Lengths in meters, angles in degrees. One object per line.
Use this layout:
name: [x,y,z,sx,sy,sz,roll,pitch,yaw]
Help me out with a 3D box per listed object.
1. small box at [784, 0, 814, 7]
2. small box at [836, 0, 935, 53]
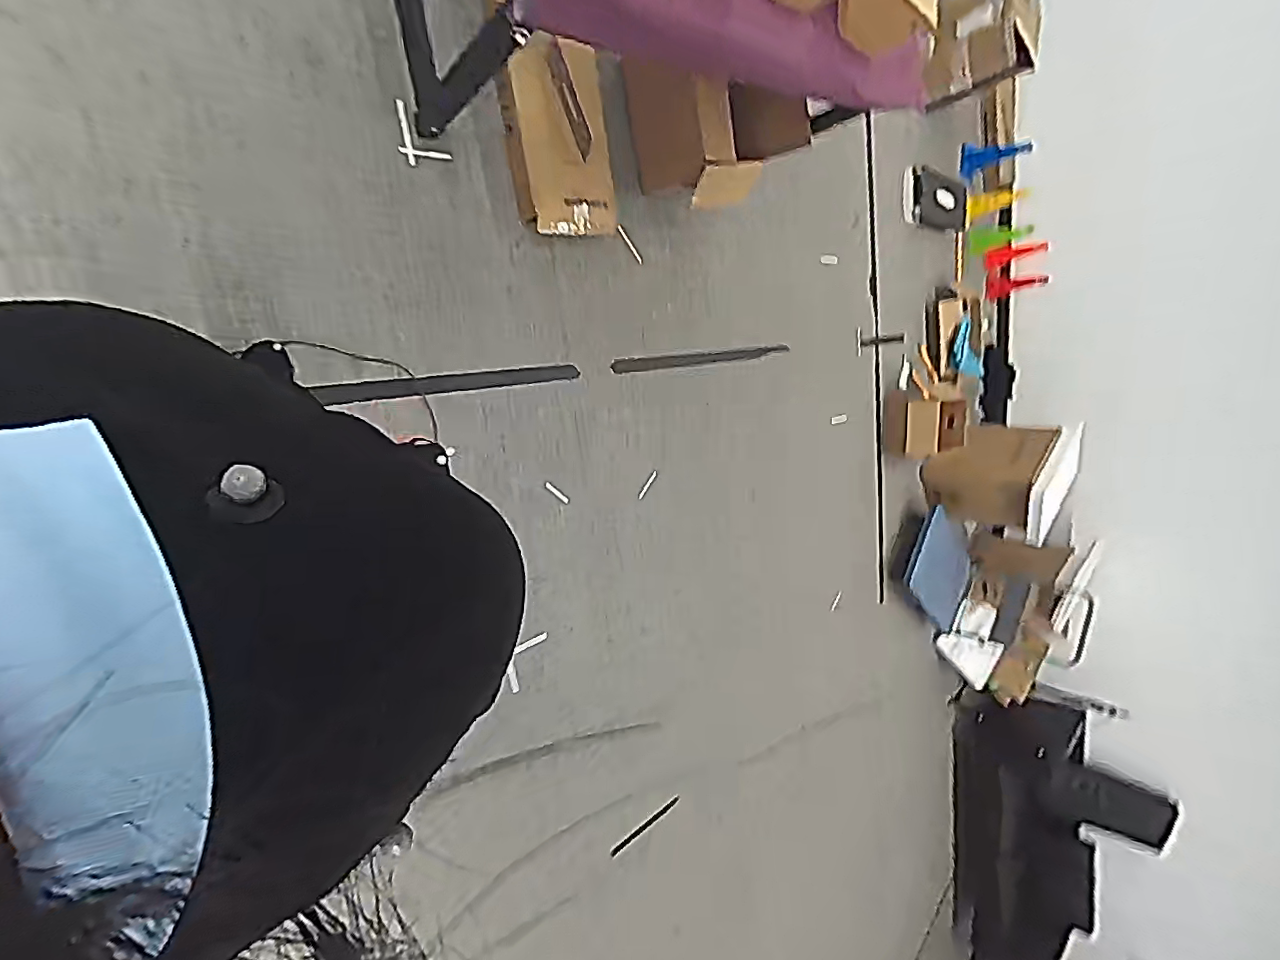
small box: [0.348,-1.121,1.103,0.179,0.176,0.168,-19,105,-37]
small box: [0.589,-1.181,1.302,0.179,0.176,0.168,-11,102,-40]
